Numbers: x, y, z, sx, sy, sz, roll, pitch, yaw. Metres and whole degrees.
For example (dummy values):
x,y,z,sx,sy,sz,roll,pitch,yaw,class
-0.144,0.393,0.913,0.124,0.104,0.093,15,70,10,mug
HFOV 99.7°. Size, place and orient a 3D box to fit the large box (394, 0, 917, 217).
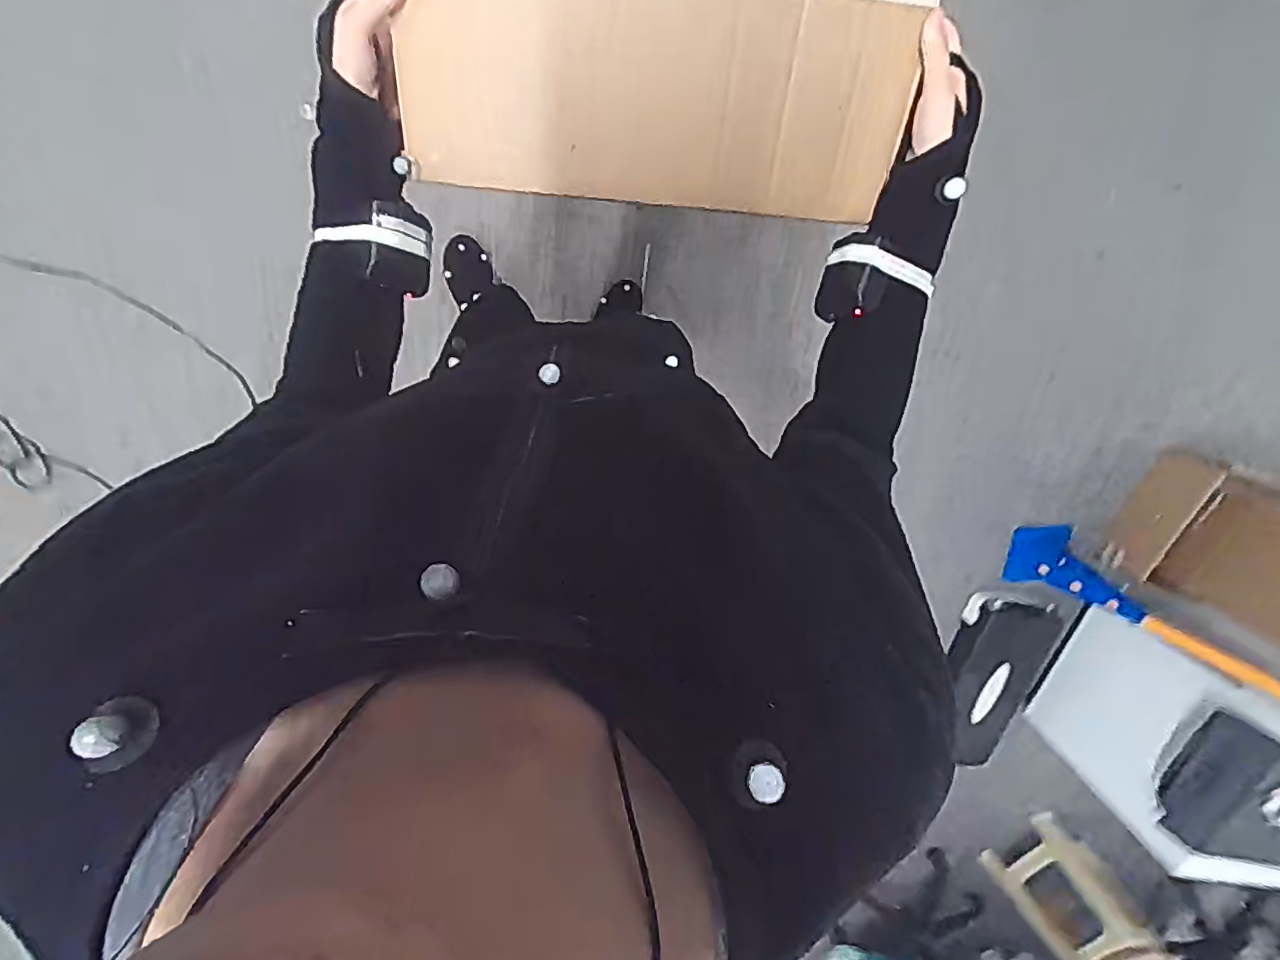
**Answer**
x,y,z,sx,sy,sz,roll,pitch,yaw,class
0.013,-0.453,0.526,0.408,0.320,0.320,2,120,-4,large box
